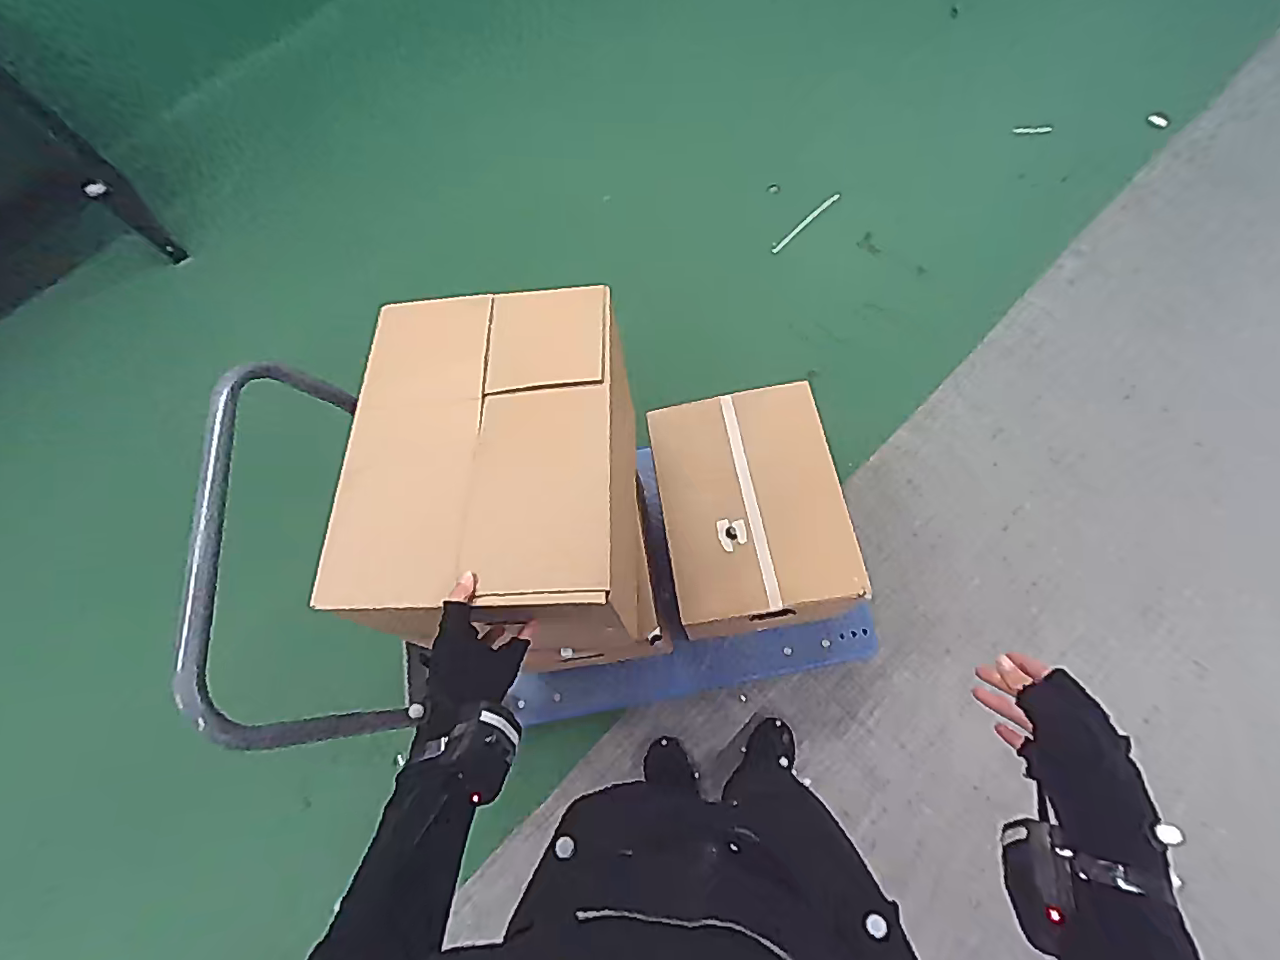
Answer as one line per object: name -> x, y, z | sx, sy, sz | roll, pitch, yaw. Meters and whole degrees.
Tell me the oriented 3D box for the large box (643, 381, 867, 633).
large box -> 0.202, 0.071, 1.088 | 0.320, 0.320, 0.408 | -11, 69, 4
